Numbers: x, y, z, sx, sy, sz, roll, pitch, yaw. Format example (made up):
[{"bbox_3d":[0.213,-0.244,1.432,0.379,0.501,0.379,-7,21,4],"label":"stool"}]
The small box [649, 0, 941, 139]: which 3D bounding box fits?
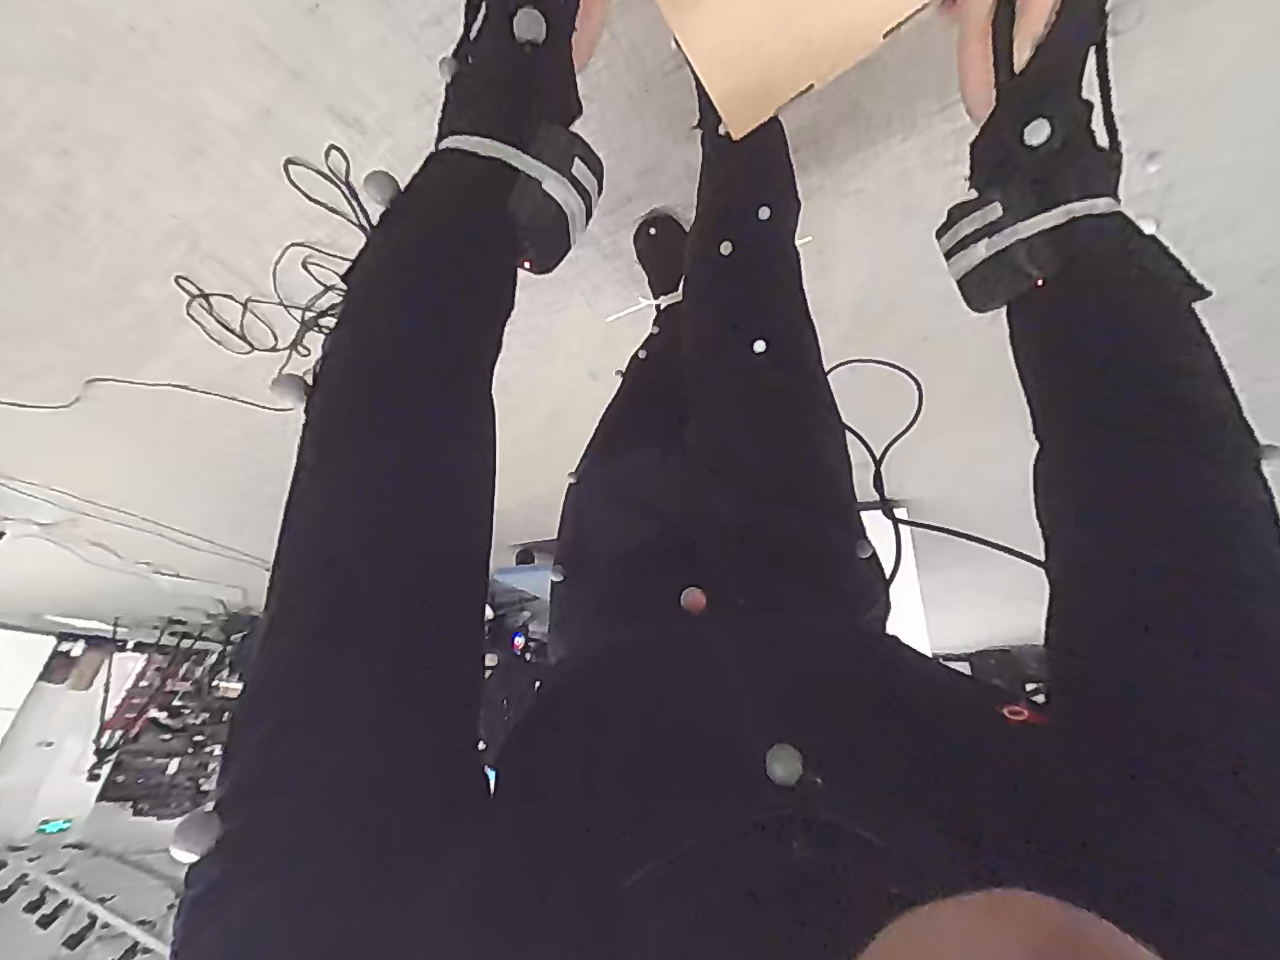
[{"bbox_3d":[0.083,-0.372,0.331,0.168,0.176,0.179,-21,142,33],"label":"small box"}]
